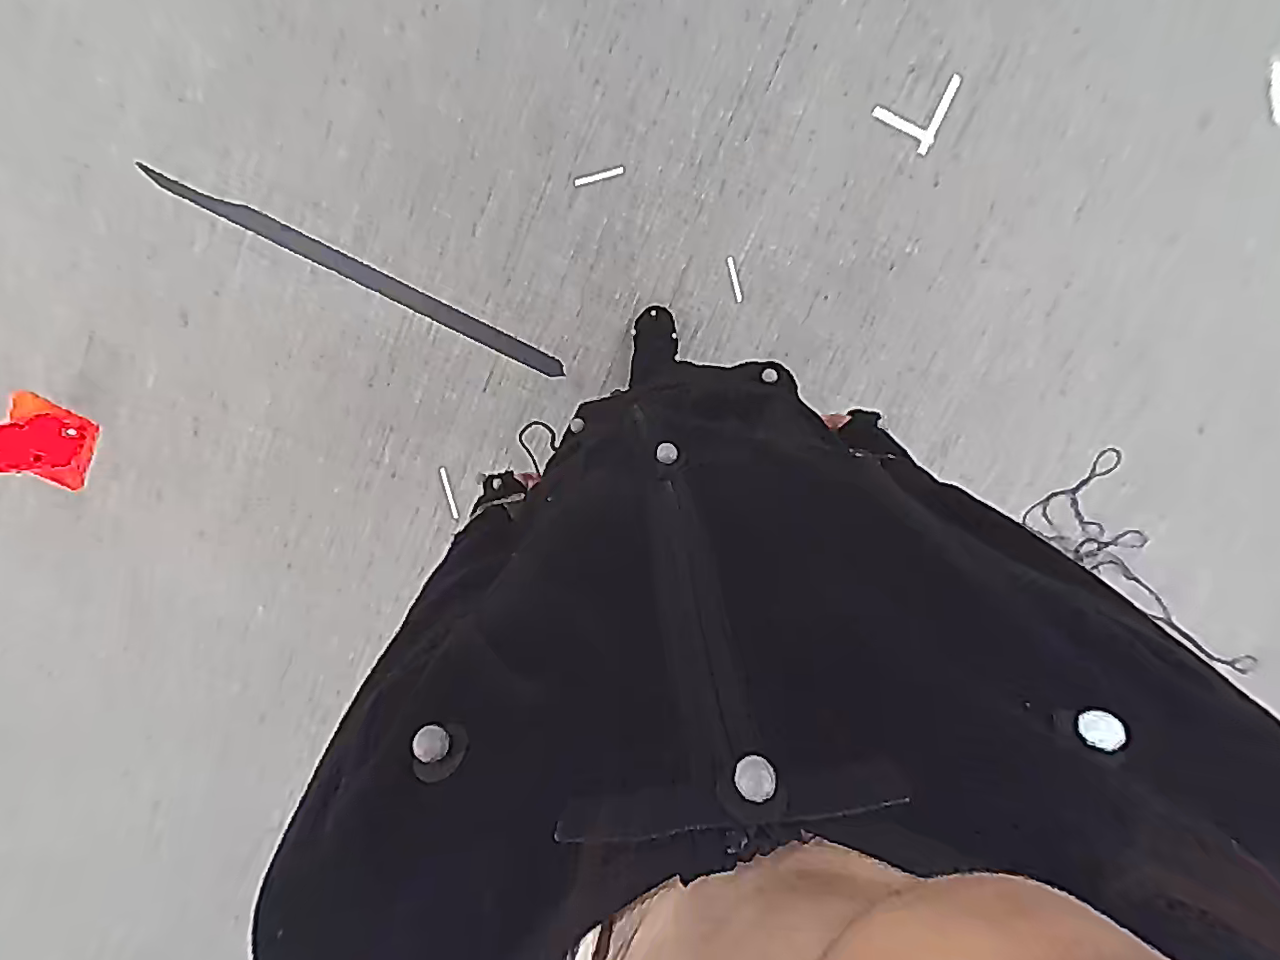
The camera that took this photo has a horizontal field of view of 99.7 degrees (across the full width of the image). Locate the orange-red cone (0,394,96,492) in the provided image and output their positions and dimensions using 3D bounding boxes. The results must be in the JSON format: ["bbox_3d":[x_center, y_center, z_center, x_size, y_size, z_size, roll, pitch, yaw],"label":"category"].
[{"bbox_3d":[-1.469,-0.052,1.173,0.199,0.360,0.198,28,101,-7],"label":"orange-red cone"}]
